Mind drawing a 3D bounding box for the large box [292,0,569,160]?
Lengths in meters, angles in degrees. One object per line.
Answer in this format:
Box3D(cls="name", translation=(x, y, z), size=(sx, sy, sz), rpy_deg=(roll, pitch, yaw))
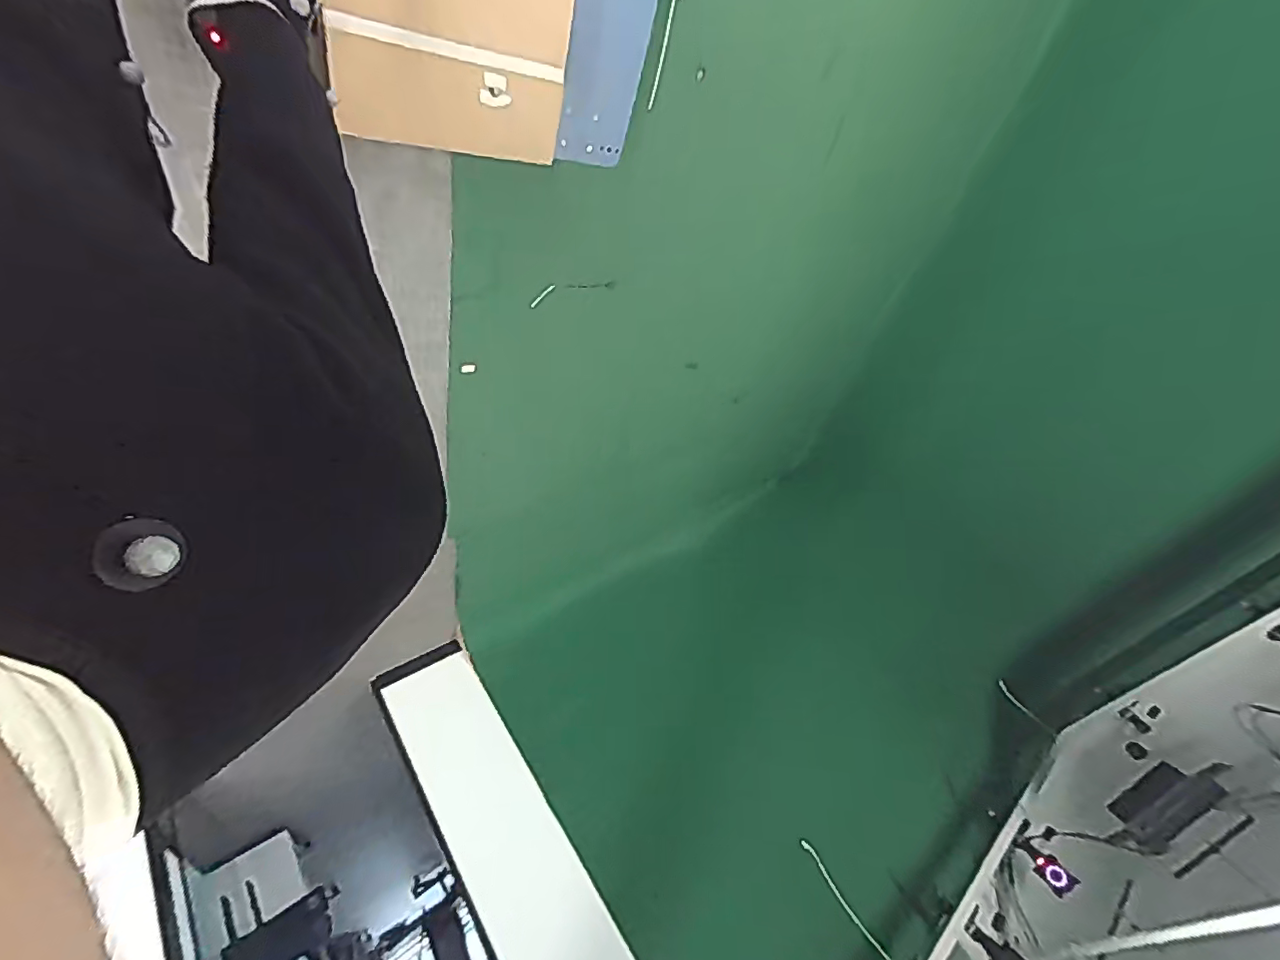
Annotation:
Box3D(cls="large box", translation=(-0.393, -0.831, 1.000), size=(0.408, 0.320, 0.320), rpy_deg=(-14, 140, -35))
